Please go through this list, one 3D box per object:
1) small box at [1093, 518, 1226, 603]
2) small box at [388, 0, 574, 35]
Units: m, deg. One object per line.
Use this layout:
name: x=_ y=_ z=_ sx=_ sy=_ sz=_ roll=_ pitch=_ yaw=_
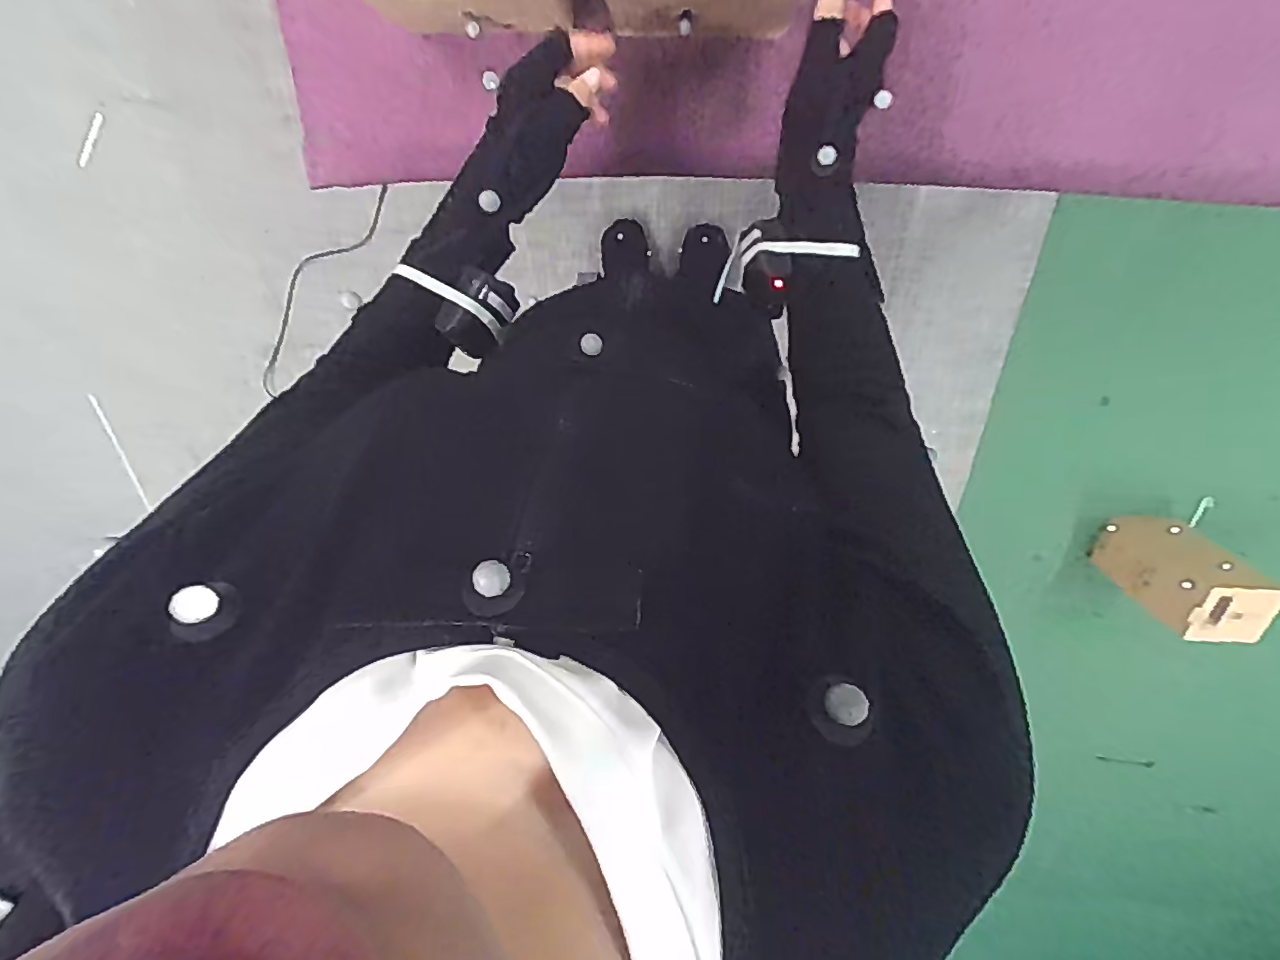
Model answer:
small box: x=1.423 y=0.218 z=1.499 sx=0.179 sy=0.176 sz=0.168 roll=3 pitch=118 yaw=2
small box: x=-0.149 y=-0.491 z=0.432 sx=0.168 sy=0.176 sz=0.179 roll=2 pitch=117 yaw=3
